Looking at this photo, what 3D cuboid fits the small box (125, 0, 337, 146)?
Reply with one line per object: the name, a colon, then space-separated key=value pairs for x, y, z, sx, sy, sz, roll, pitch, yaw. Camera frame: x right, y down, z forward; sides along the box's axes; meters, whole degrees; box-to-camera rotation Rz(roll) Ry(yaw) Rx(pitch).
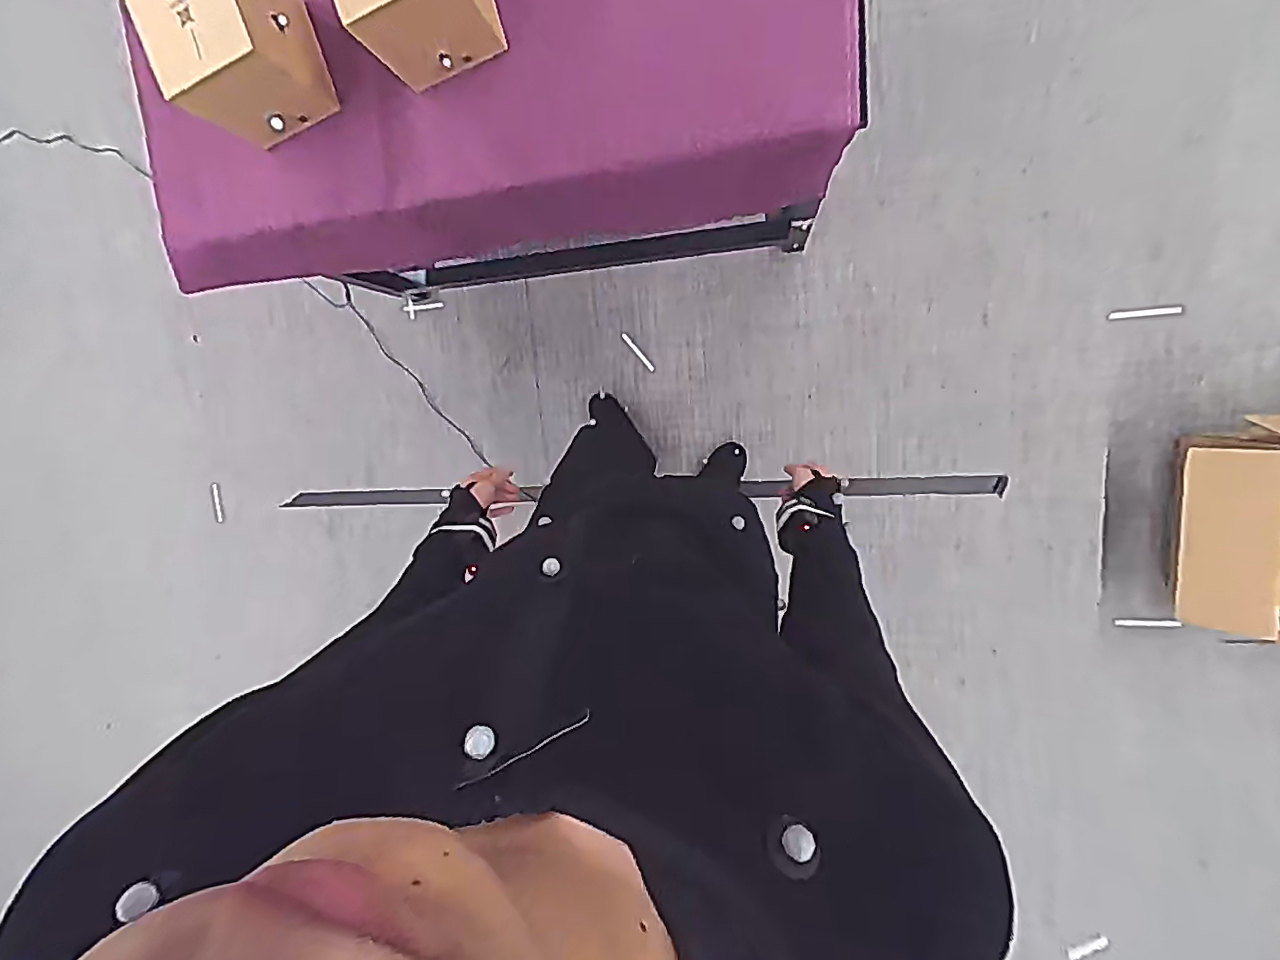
small box: x=-0.602 y=-0.649 z=0.808 sx=0.168 sy=0.176 sz=0.179 roll=-16 pitch=96 yaw=14
